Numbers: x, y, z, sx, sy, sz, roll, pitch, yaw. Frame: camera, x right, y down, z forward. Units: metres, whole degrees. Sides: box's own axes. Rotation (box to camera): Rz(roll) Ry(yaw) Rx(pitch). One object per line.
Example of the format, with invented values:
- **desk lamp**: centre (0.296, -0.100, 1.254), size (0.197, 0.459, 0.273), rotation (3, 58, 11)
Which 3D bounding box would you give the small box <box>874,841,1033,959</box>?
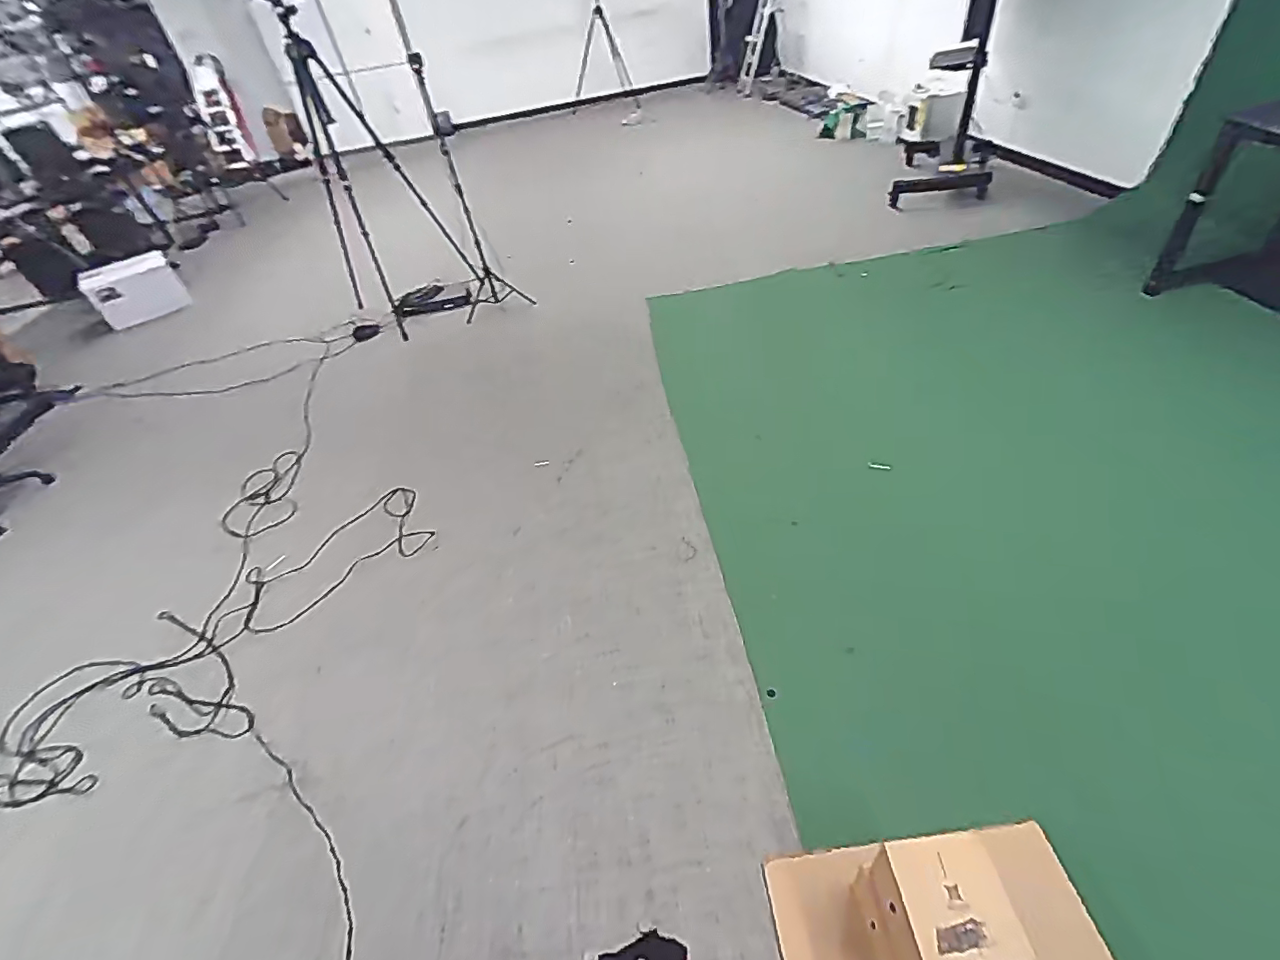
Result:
- **small box**: centre (0.512, 0.736, 0.906), size (0.168, 0.176, 0.179), rotation (-7, 40, 4)
